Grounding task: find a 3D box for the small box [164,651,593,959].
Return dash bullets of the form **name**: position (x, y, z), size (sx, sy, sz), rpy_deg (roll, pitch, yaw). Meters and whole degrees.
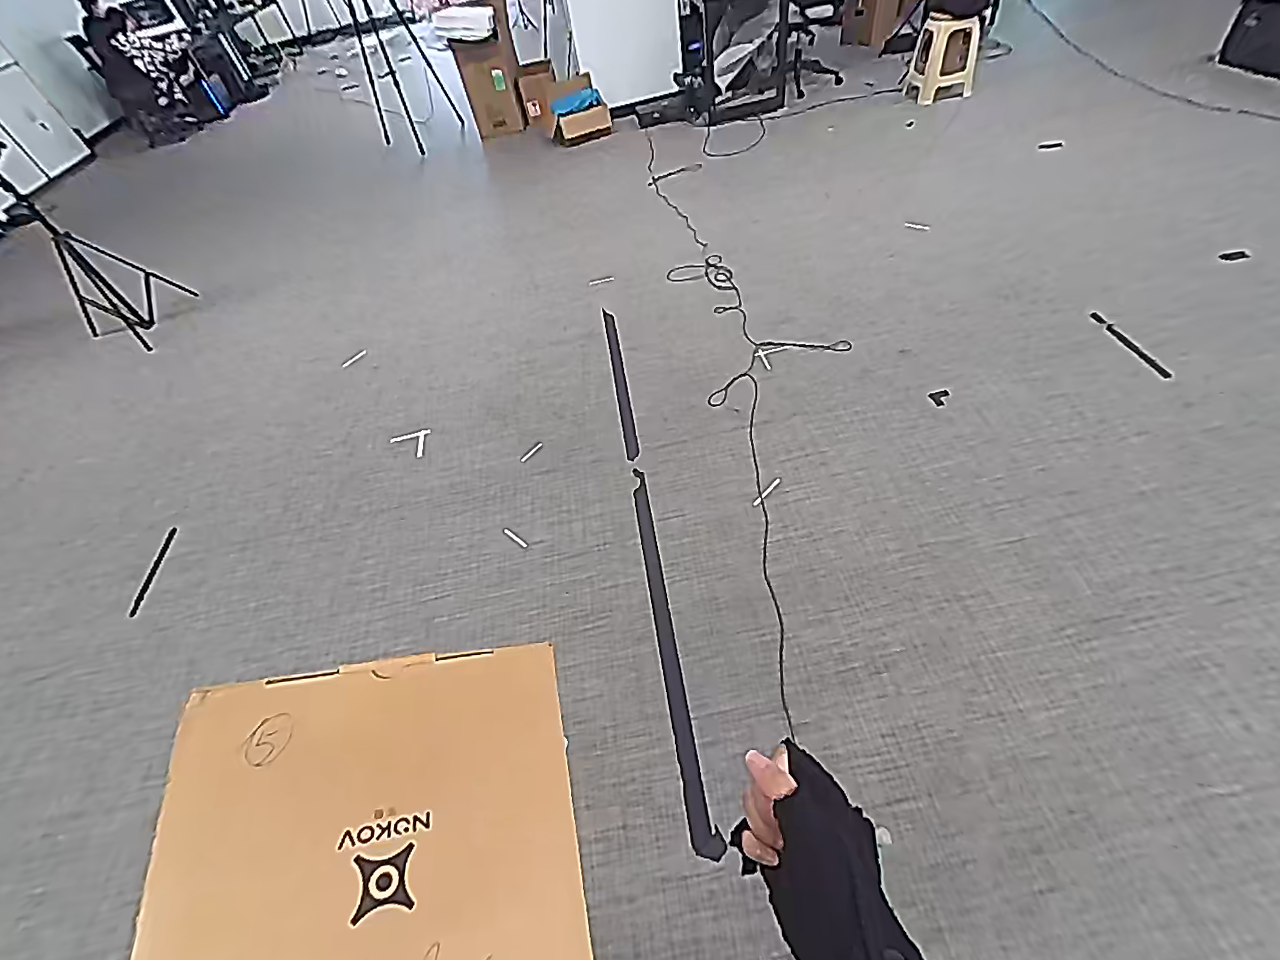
- **small box**: position (-0.131, 0.215, 0.303), size (0.168, 0.176, 0.179), rpy_deg (-2, 57, -20)
